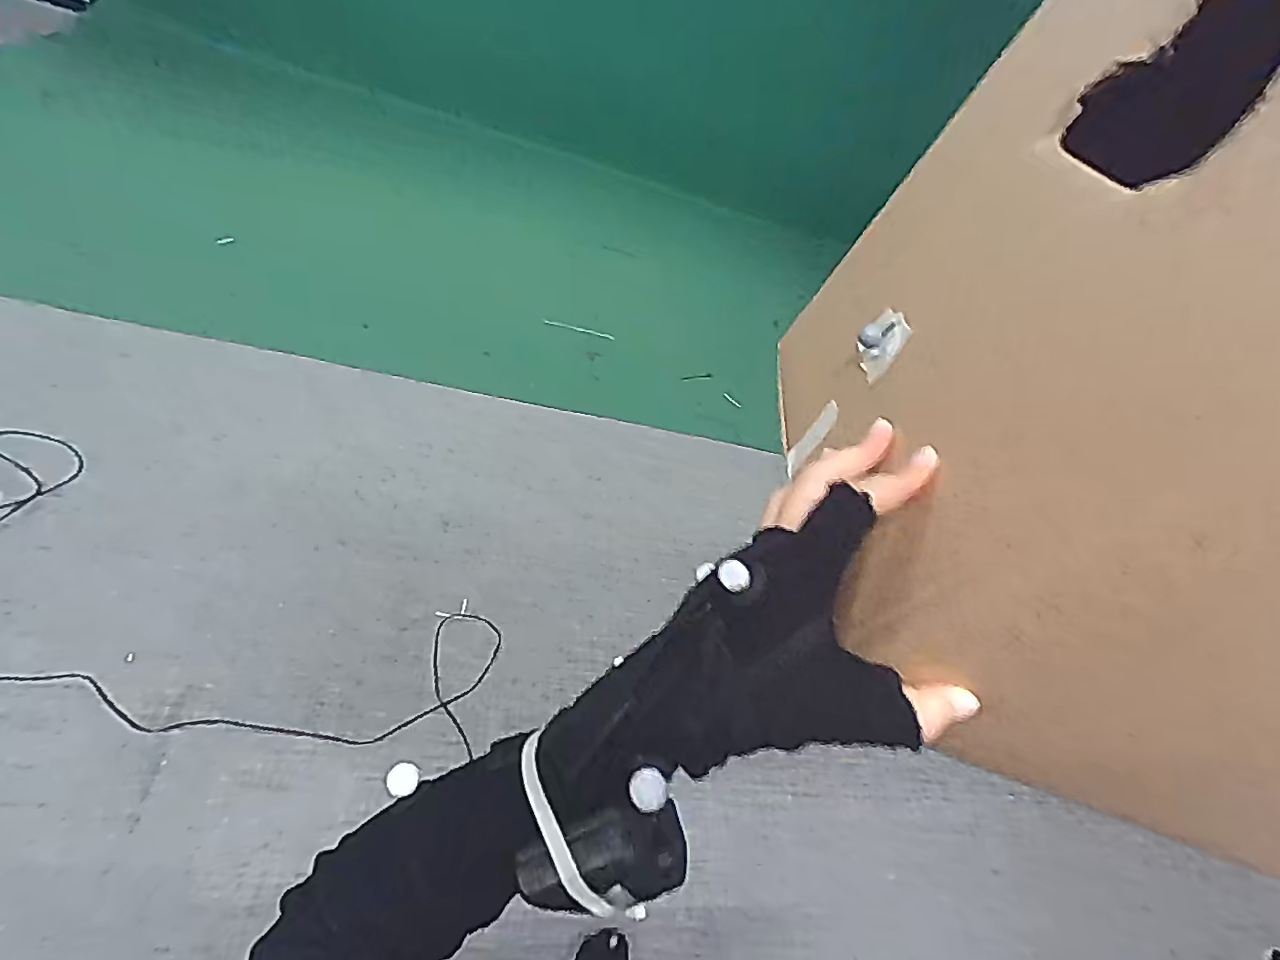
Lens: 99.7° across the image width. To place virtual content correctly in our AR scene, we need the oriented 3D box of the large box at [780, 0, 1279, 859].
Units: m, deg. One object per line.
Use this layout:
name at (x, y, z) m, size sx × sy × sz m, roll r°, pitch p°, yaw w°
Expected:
large box at (0.340, -0.020, 0.301) m, size 0.408 × 0.320 × 0.320 m, roll 24°, pitch 43°, yaw -13°
